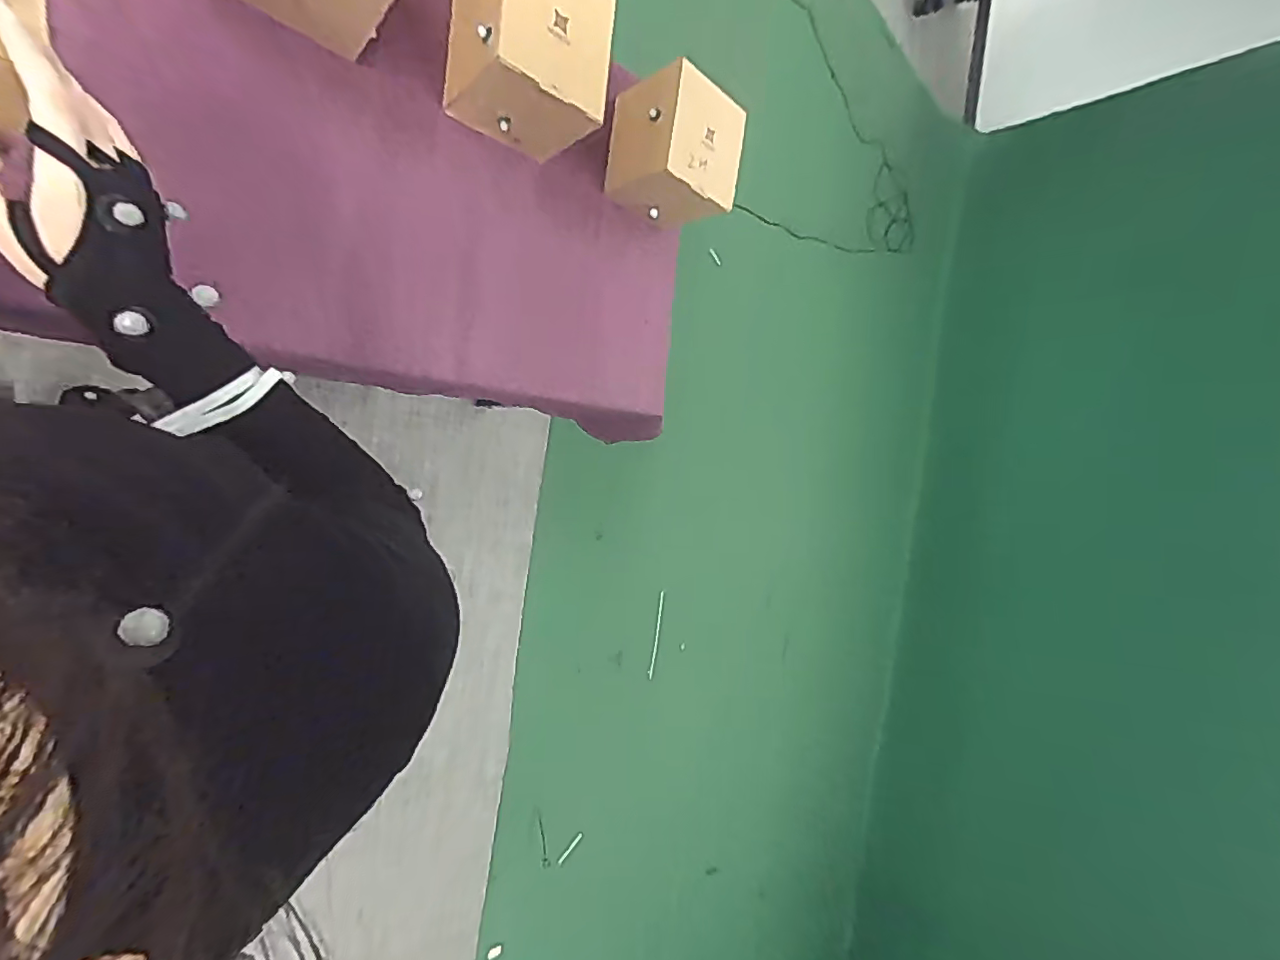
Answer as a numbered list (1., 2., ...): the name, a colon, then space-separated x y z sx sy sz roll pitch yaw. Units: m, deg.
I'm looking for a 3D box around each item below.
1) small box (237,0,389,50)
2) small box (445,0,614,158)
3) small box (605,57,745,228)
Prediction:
1. small box: -0.366 -0.608 0.570 0.179 0.176 0.168 6 92 -41
2. small box: -0.159 -0.598 0.761 0.168 0.176 0.179 3 94 -42
3. small box: 0.058 -0.575 0.951 0.168 0.176 0.179 7 94 -41
